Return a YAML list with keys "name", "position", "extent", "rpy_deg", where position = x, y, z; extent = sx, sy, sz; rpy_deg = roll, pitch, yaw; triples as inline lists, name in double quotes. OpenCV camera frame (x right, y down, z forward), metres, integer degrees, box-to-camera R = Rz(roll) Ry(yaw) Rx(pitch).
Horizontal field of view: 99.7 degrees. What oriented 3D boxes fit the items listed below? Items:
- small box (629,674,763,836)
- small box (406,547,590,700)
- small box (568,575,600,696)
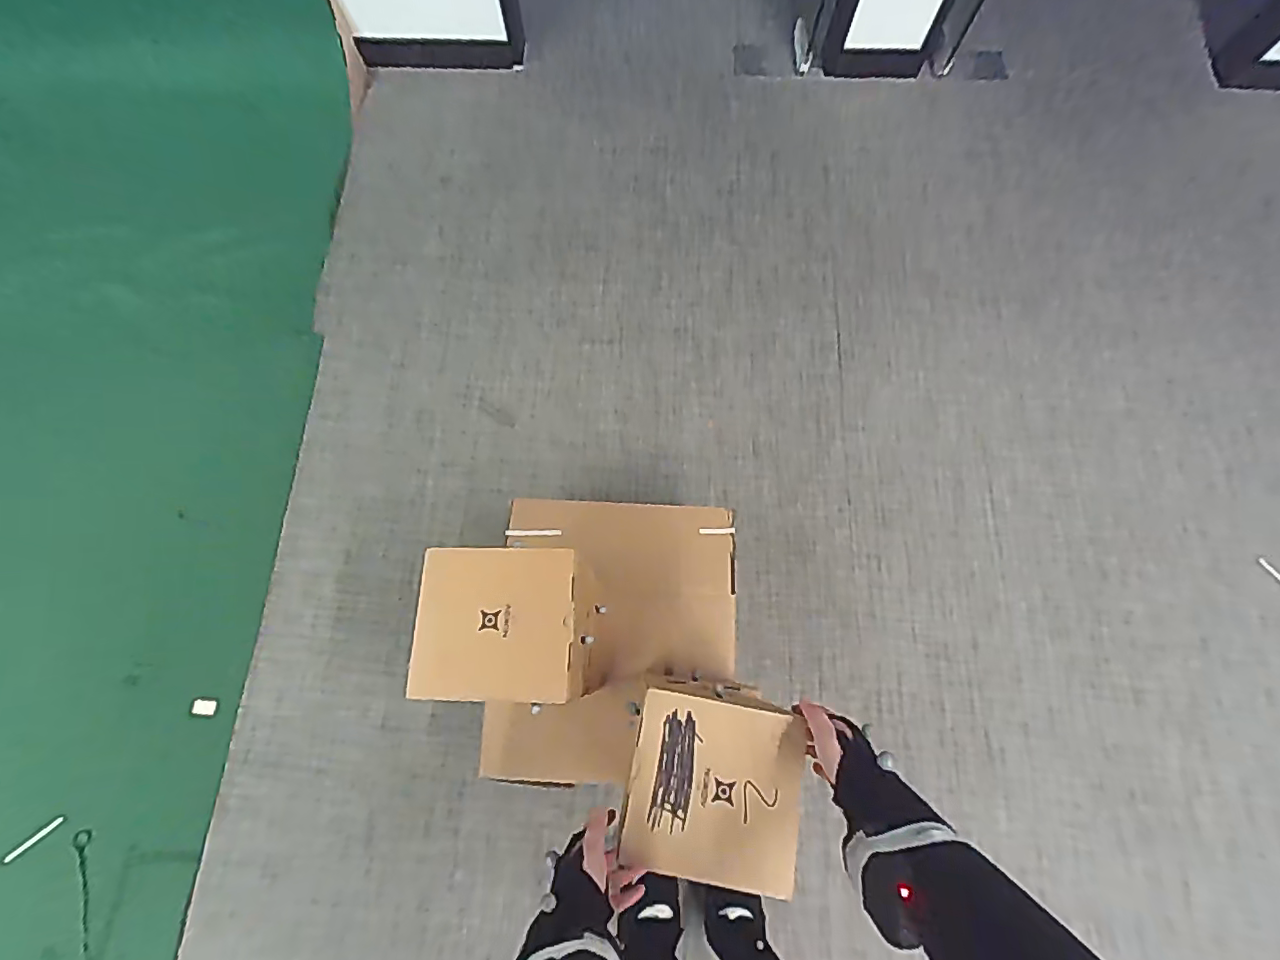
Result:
- name: "small box"
  position: [0.074, 0.381, 0.780]
  extent: [0.168, 0.176, 0.179]
  rpy_deg: [6, 72, 1]
- name: "small box"
  position: [-0.161, 0.183, 0.676]
  extent: [0.179, 0.176, 0.168]
  rpy_deg: [1, 71, 0]
- name: "small box"
  position: [-0.153, 0.237, 0.829]
  extent: [0.179, 0.176, 0.168]
  rpy_deg: [0, 71, 1]
